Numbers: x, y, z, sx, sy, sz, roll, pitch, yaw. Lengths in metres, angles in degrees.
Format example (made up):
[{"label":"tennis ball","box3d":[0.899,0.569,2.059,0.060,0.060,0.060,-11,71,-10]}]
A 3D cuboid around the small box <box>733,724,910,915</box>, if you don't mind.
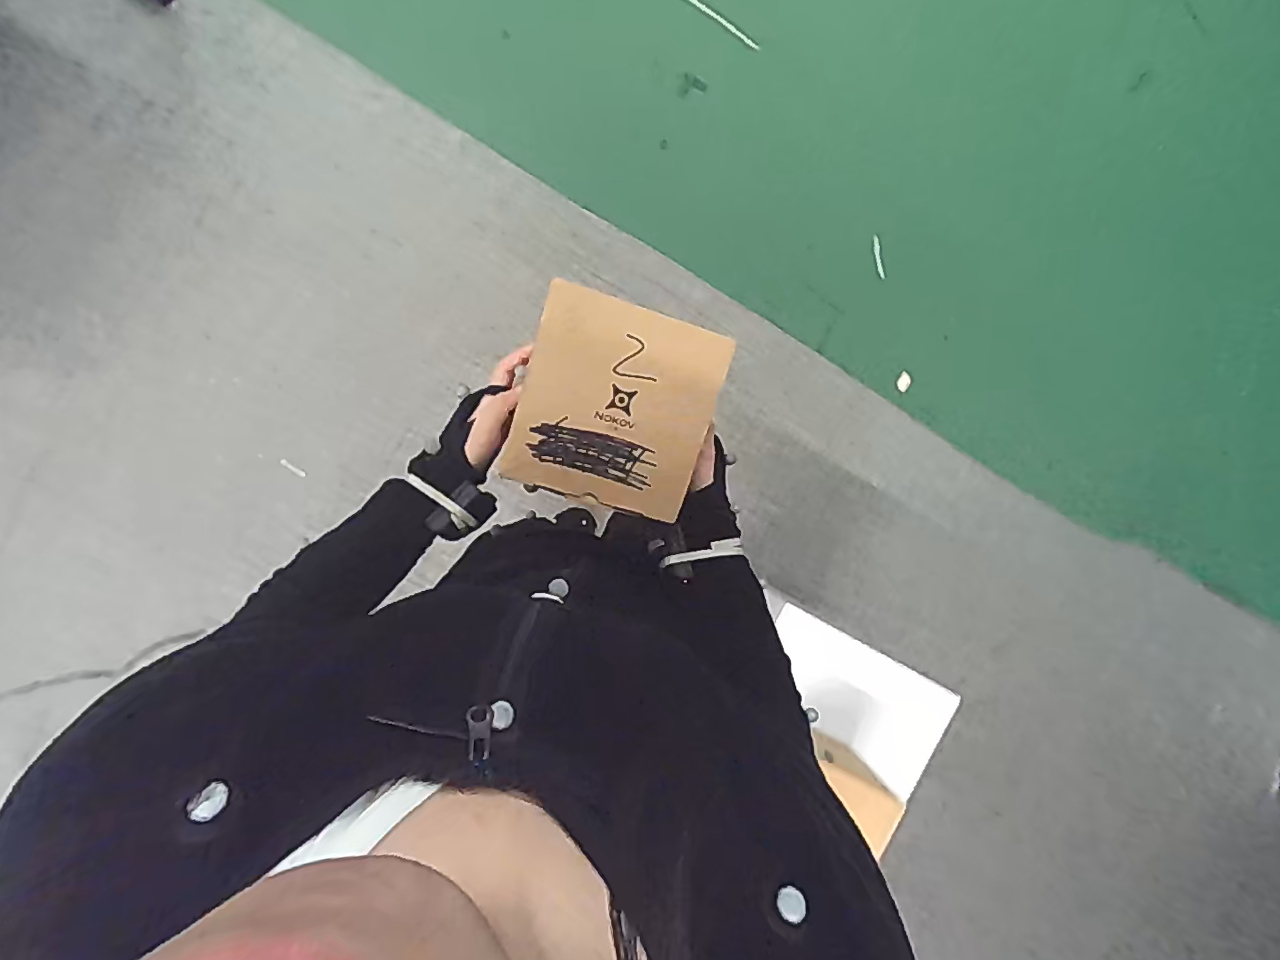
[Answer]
[{"label":"small box","box3d":[0.278,0.528,0.867,0.179,0.176,0.168,30,87,-7]}]
